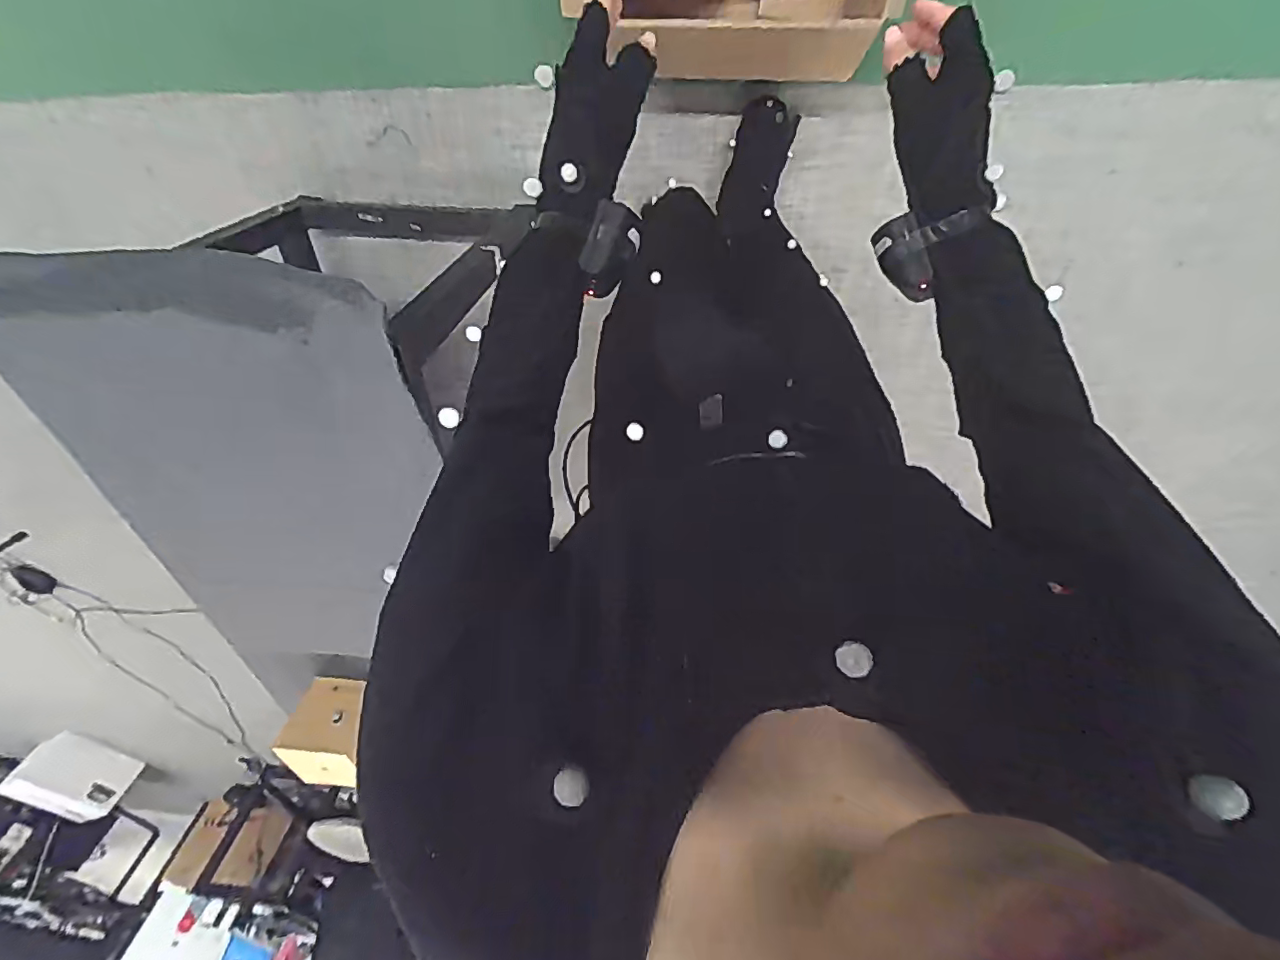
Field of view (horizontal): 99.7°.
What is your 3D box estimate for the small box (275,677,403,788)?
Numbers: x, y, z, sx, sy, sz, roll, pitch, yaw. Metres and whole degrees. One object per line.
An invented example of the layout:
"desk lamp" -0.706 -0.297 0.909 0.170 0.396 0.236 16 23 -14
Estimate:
"small box" -0.661 0.565 1.217 0.168 0.176 0.179 3 131 6
